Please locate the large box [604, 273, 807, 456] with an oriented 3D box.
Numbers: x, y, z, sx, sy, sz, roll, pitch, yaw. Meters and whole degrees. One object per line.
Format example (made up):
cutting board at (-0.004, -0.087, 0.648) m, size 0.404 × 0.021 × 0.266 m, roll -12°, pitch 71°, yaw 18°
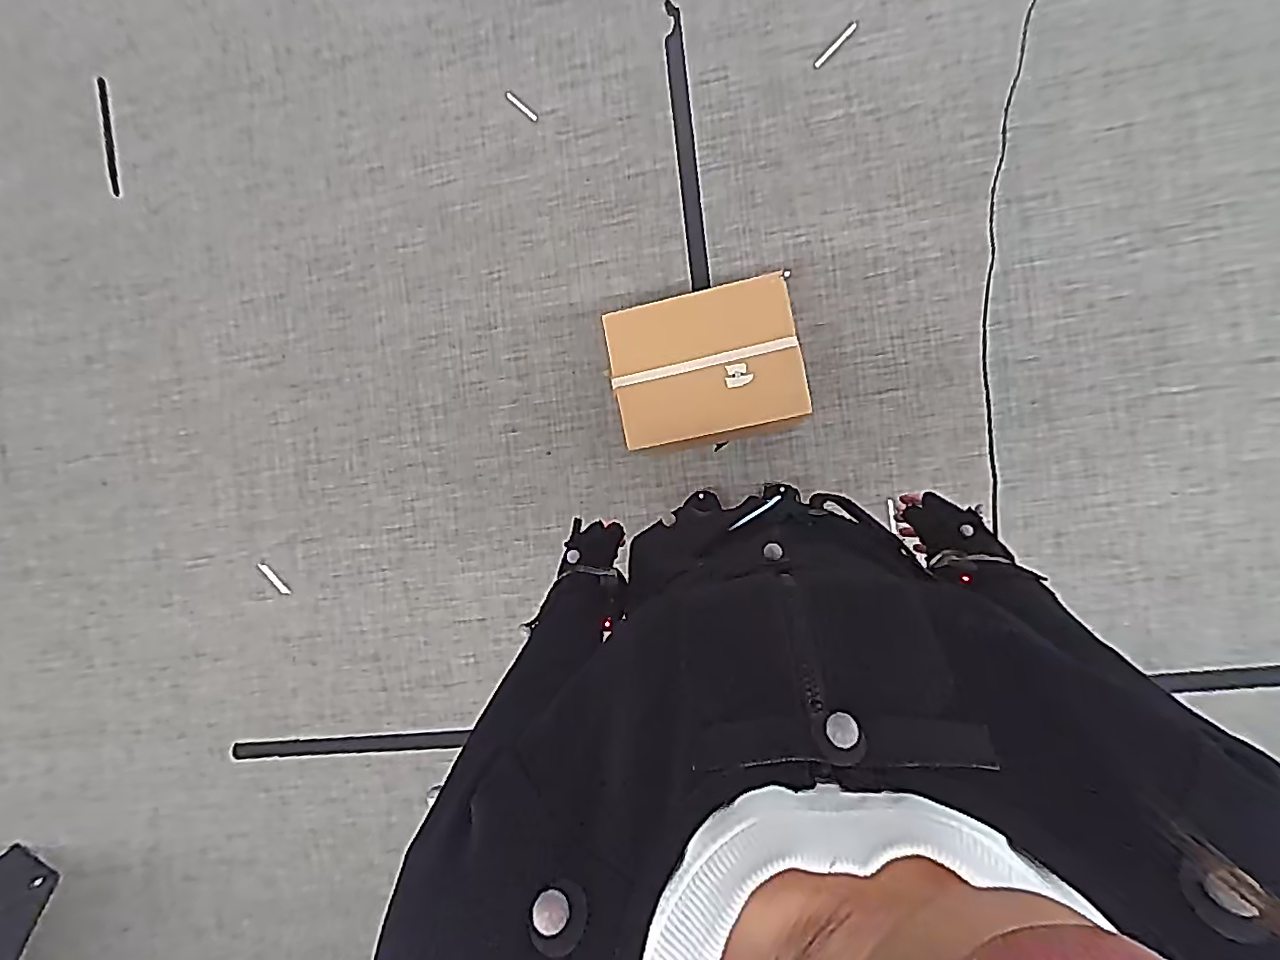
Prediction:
large box at (0.160, -0.256, 1.336) m, size 0.408 × 0.320 × 0.320 m, roll -11°, pitch 88°, yaw 8°
